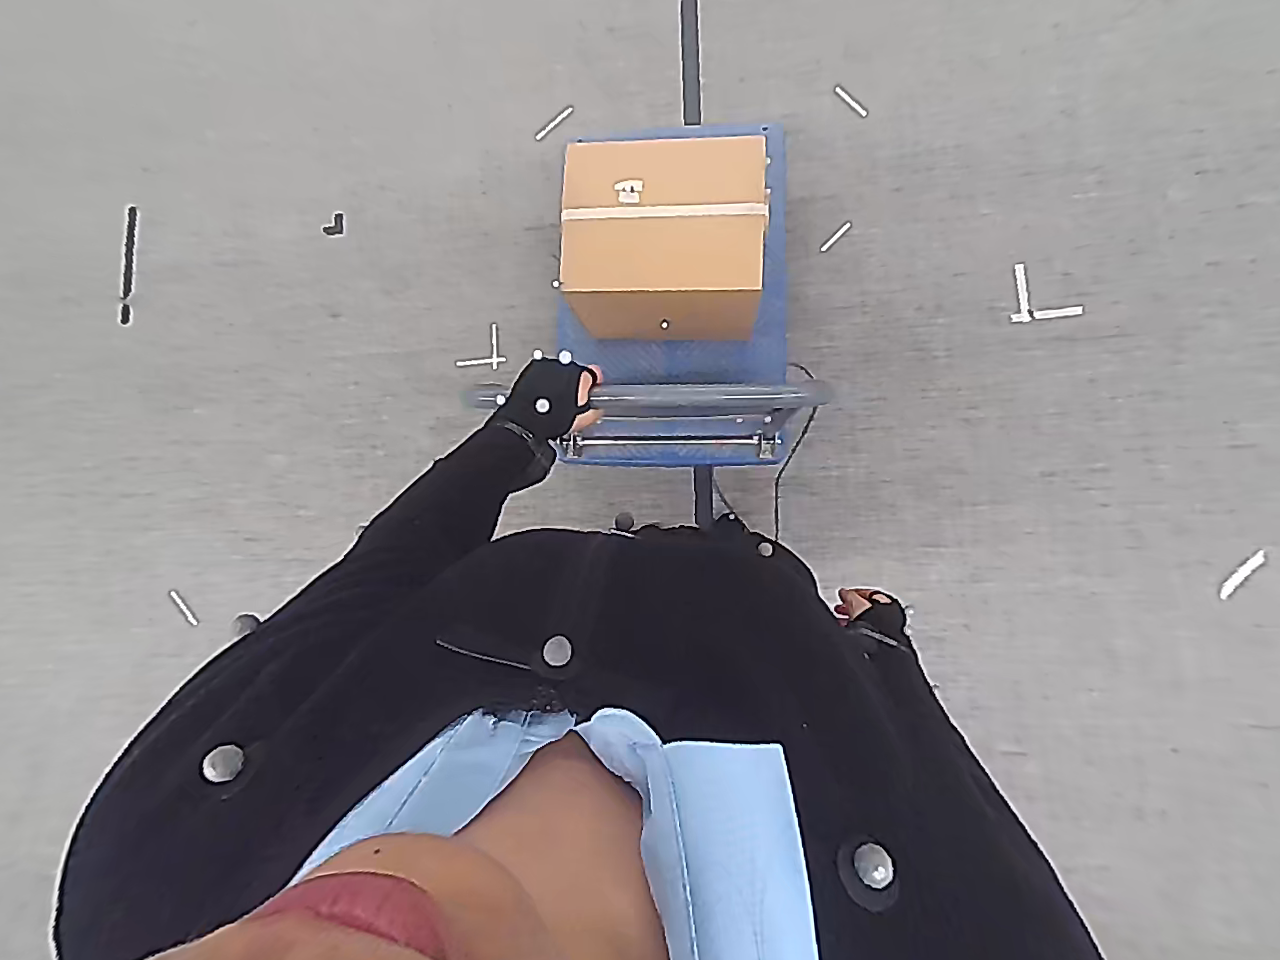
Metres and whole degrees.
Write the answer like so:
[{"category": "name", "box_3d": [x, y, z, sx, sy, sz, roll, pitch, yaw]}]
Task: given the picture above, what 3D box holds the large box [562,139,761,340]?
[{"category": "large box", "box_3d": [0.061, -0.518, 1.235, 0.408, 0.320, 0.320, 2, 85, 8]}]
